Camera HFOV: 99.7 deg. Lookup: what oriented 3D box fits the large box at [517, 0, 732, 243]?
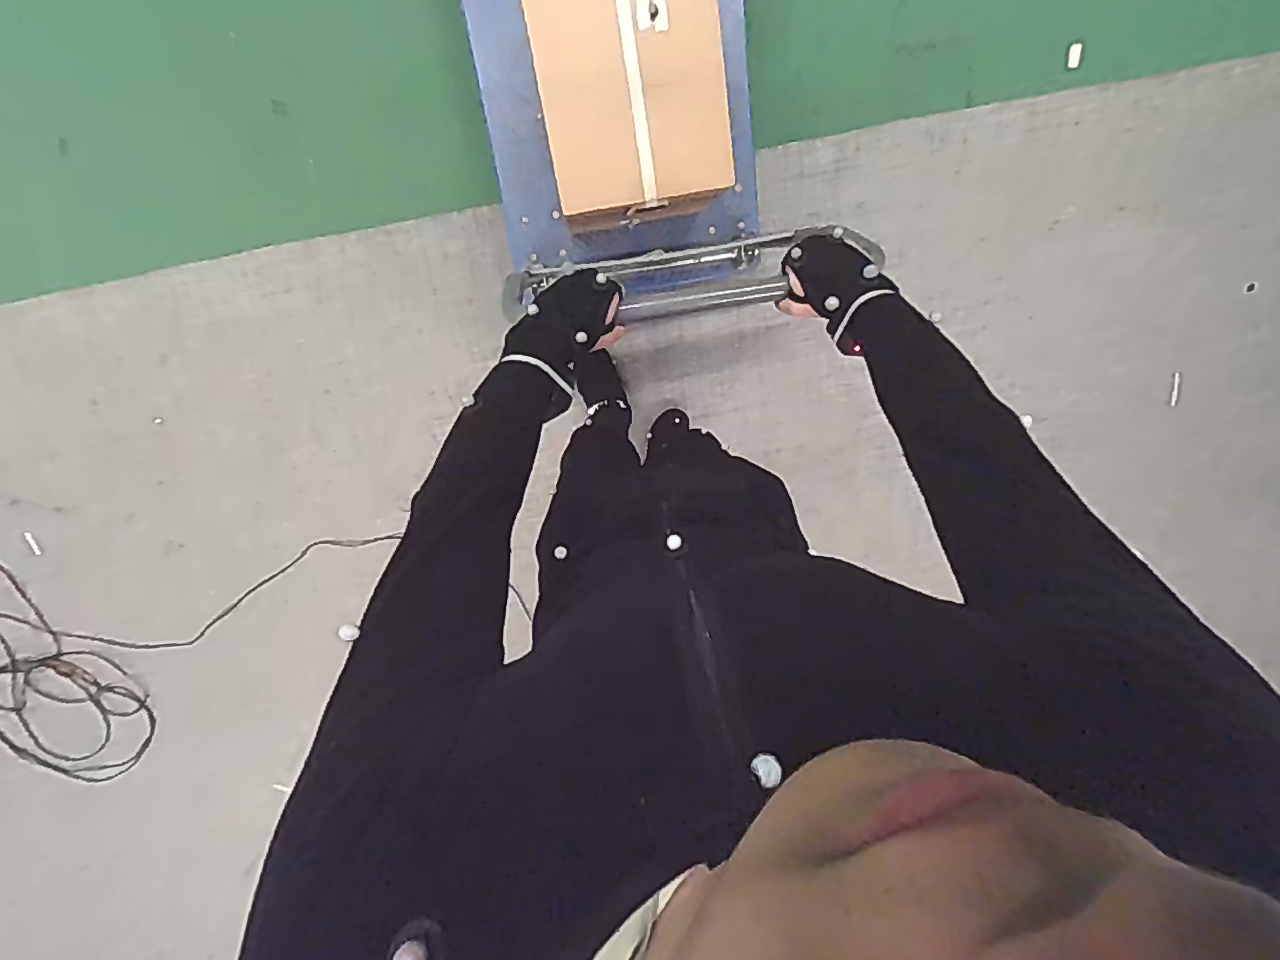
[{"bbox_3d":[-0.029,-0.715,1.048,0.320,0.320,0.408,-11,109,-1],"label":"large box"}]
